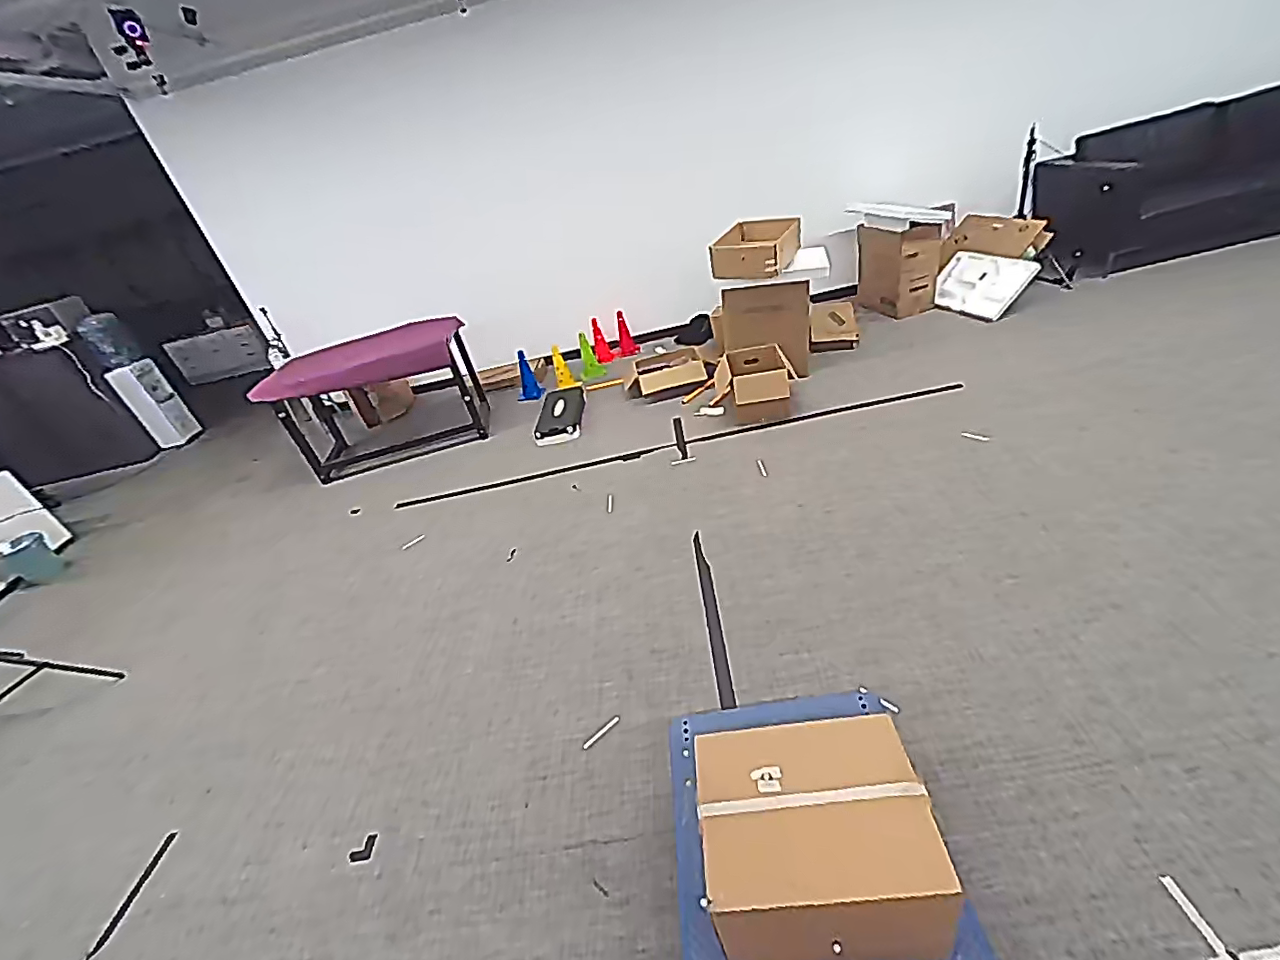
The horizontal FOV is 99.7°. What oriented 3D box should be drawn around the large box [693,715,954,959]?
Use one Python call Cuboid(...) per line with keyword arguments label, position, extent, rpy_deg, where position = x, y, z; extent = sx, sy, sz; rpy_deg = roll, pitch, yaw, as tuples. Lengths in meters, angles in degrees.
Cuboid(label="large box", position=(0.342, 0.724, 1.082), extent=(0.408, 0.320, 0.320), rpy_deg=(-11, 31, 8))
